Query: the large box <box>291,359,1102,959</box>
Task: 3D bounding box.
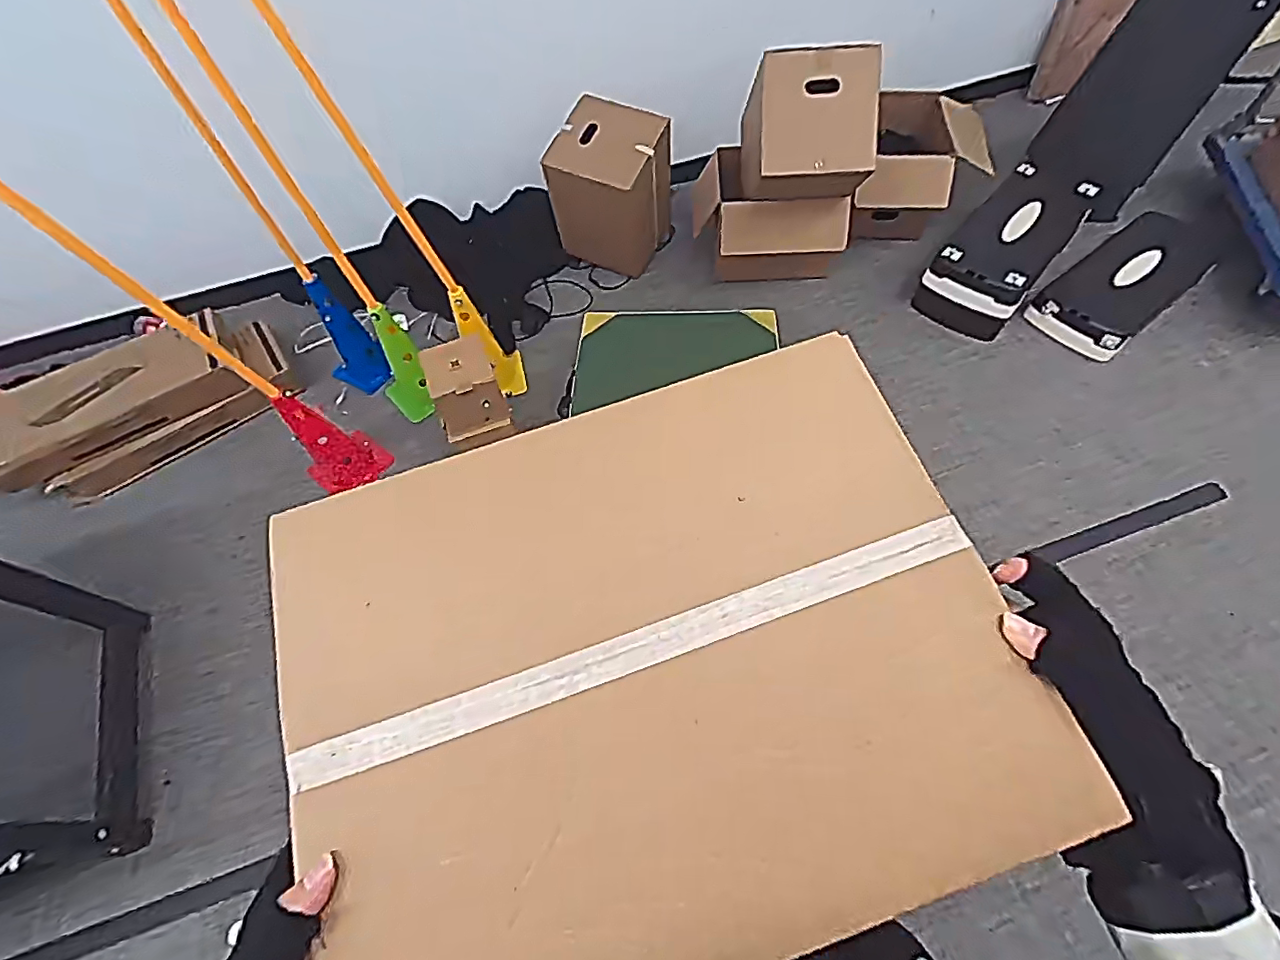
[{"bbox_3d":[0.015,0.163,0.453,0.408,0.320,0.320,-19,68,-3],"label":"large box"}]
